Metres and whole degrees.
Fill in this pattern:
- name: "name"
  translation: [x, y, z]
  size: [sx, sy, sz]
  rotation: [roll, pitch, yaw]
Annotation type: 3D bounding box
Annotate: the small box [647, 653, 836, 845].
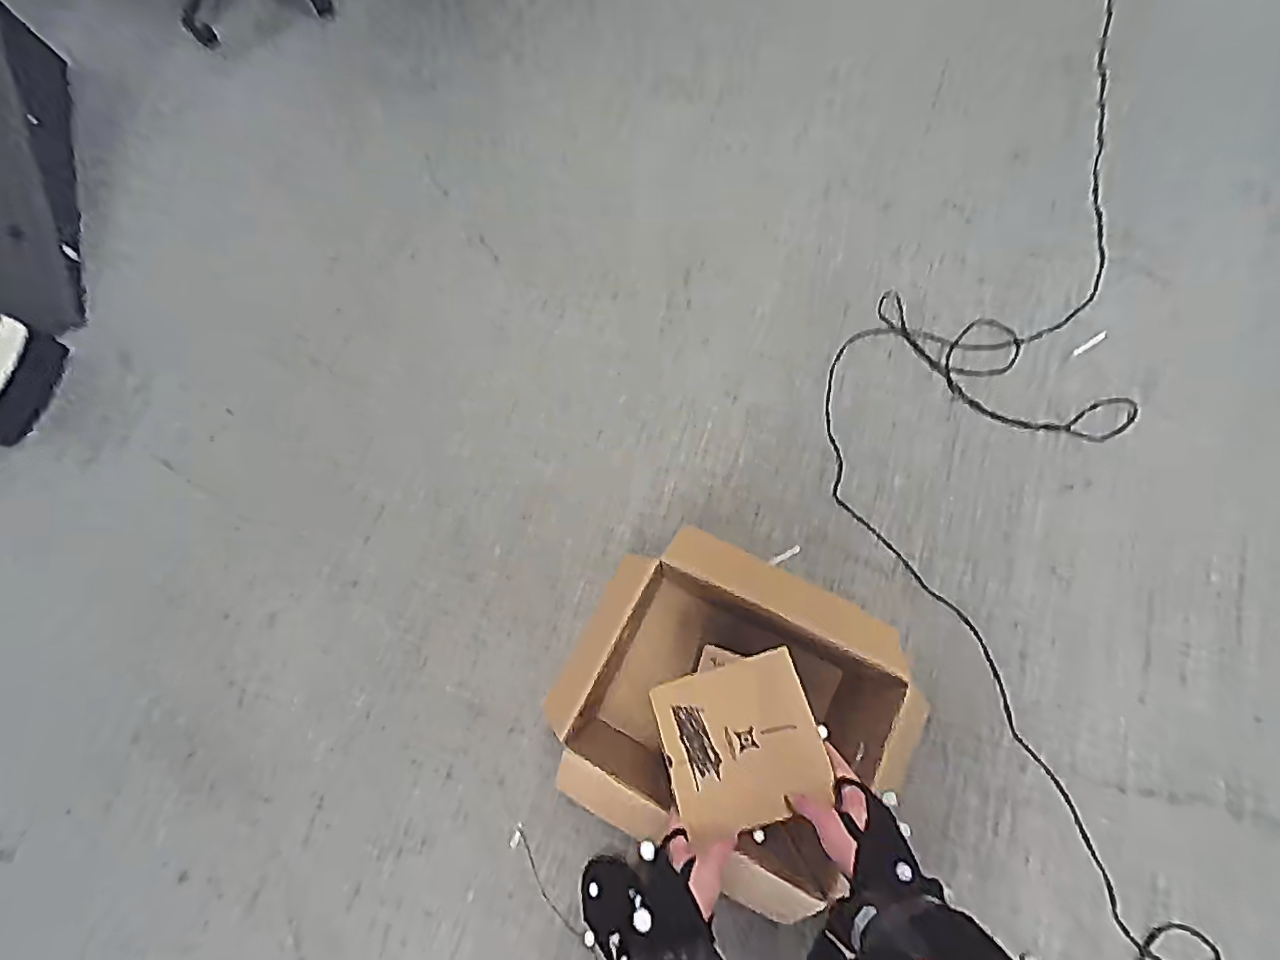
- name: "small box"
  translation: [0.124, 0.327, 0.660]
  size: [0.179, 0.176, 0.168]
  rotation: [-17, 60, 7]
